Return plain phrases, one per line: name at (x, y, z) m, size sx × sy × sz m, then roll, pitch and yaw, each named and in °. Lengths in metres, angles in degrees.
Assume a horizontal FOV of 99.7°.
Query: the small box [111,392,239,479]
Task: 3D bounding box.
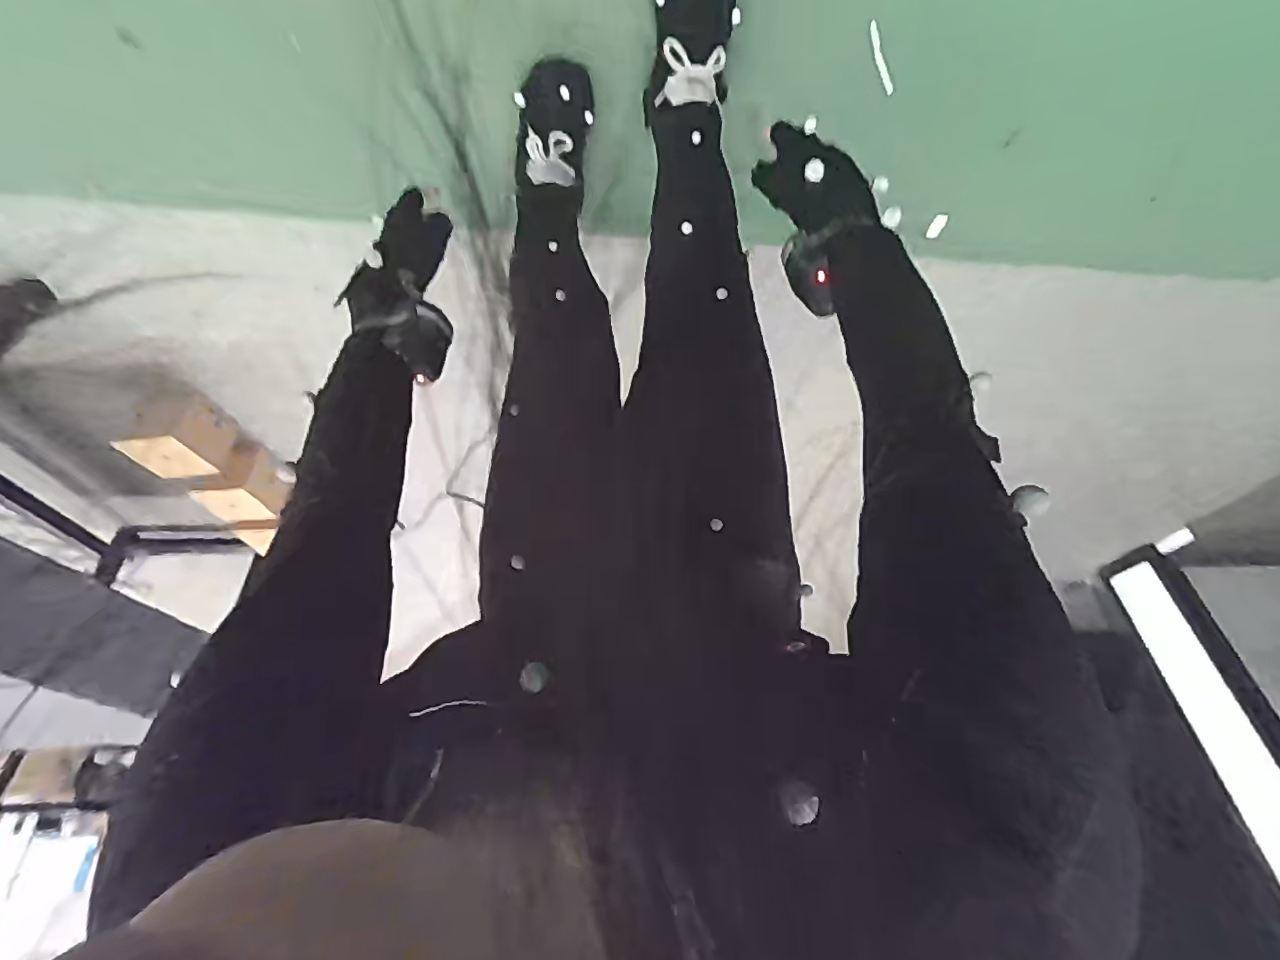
small box at (-1.255, -0.122, 1.475) m, size 0.179 × 0.176 × 0.168 m, roll -5°, pitch 147°, yaw 4°
